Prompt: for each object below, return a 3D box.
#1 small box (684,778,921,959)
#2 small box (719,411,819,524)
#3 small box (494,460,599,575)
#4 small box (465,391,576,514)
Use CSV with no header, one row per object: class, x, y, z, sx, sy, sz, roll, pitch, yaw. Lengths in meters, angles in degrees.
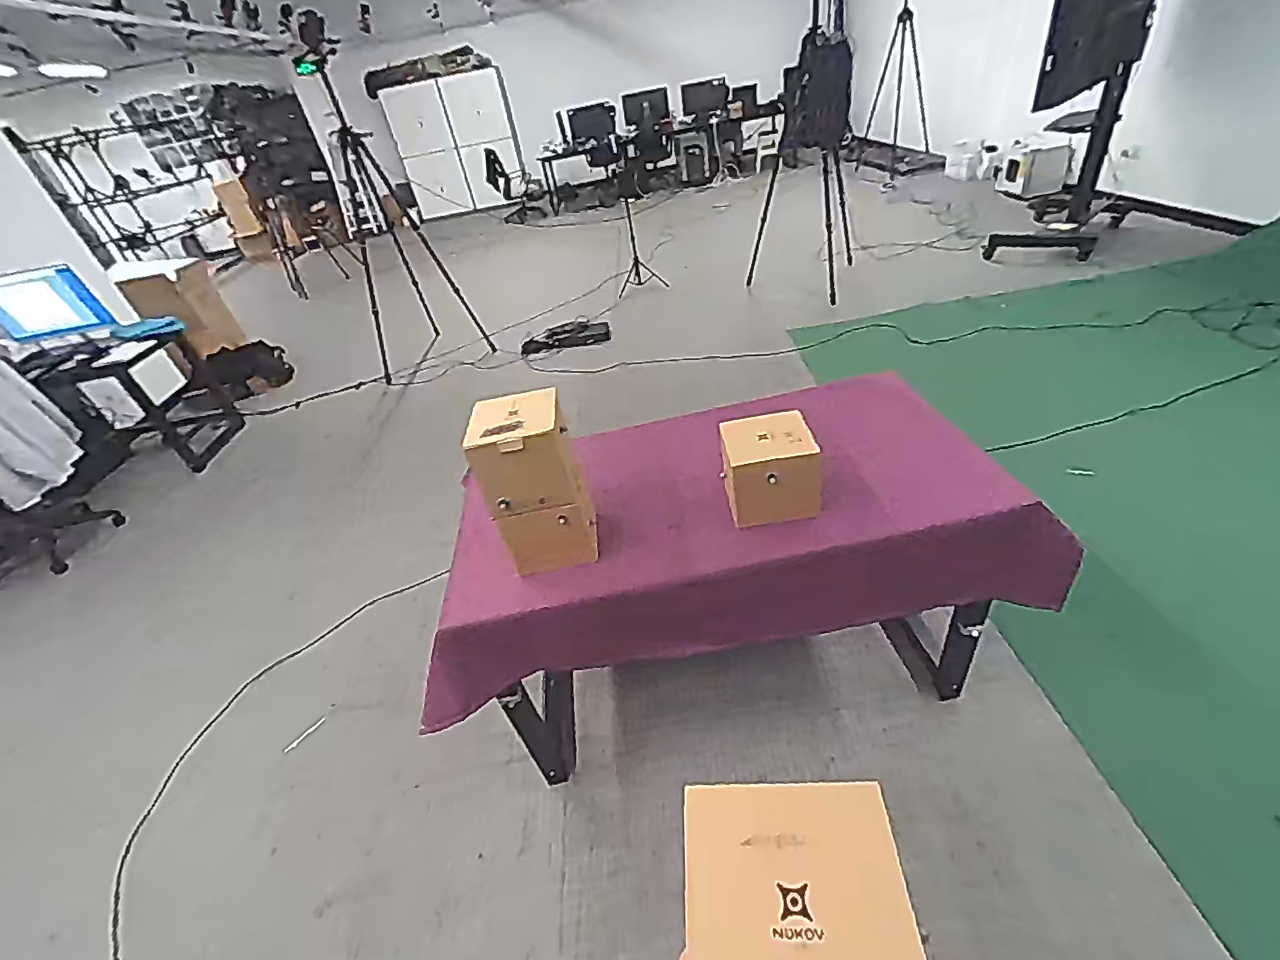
small box,0.131,0.376,0.452,0.168,0.176,0.179,-7,38,10
small box,0.273,-0.023,1.150,0.179,0.176,0.168,-9,37,5
small box,-0.193,0.083,1.158,0.179,0.176,0.168,-11,36,1
small box,-0.225,-0.049,1.064,0.168,0.176,0.179,-12,35,1
